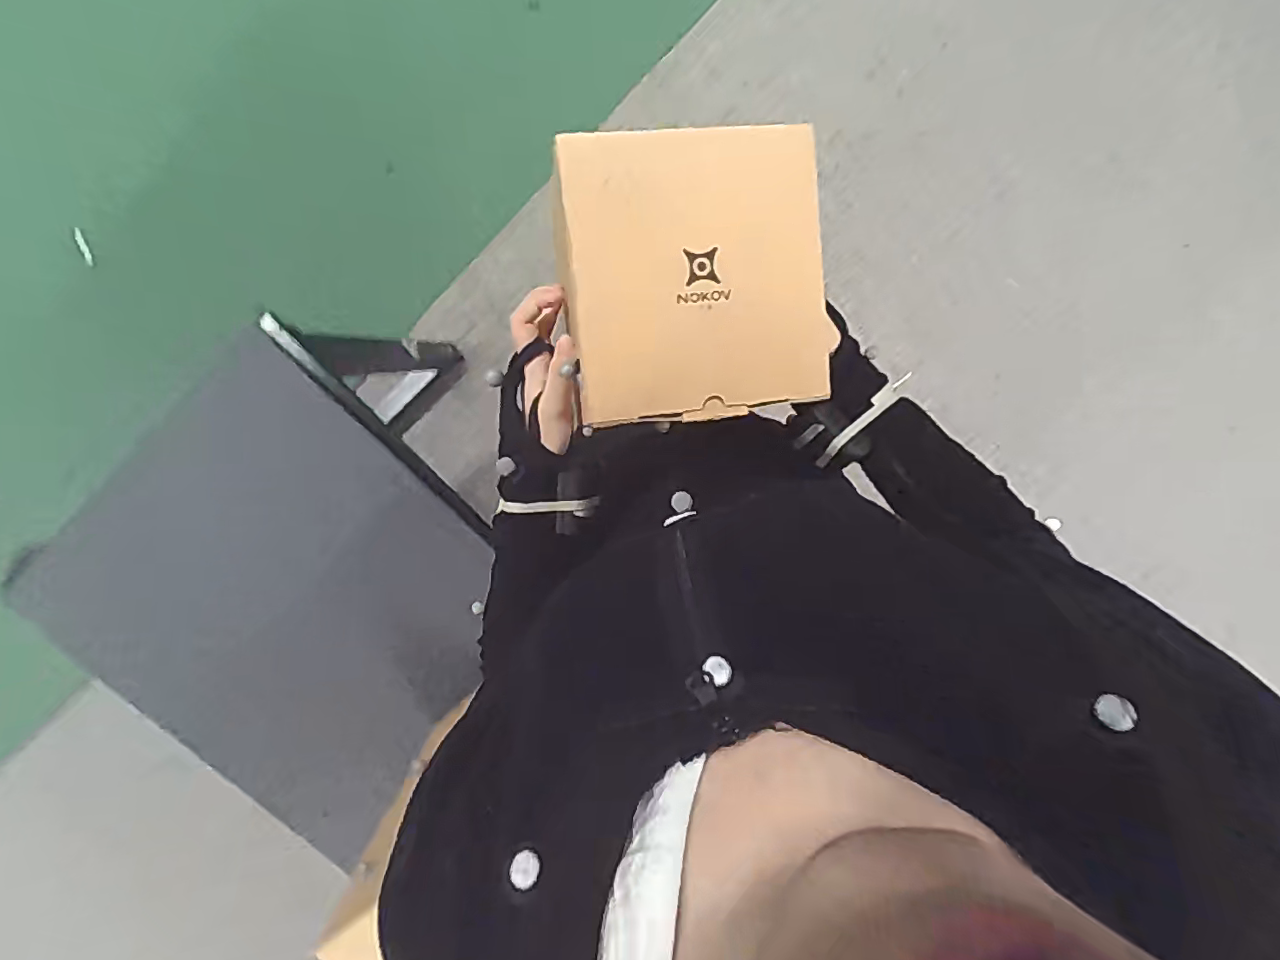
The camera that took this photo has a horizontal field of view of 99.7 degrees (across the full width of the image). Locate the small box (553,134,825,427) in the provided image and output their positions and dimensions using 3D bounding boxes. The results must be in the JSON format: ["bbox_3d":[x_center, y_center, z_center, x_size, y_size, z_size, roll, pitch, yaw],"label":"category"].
[{"bbox_3d":[0.024,-0.137,0.426,0.168,0.176,0.179,-8,97,-9],"label":"small box"}]
